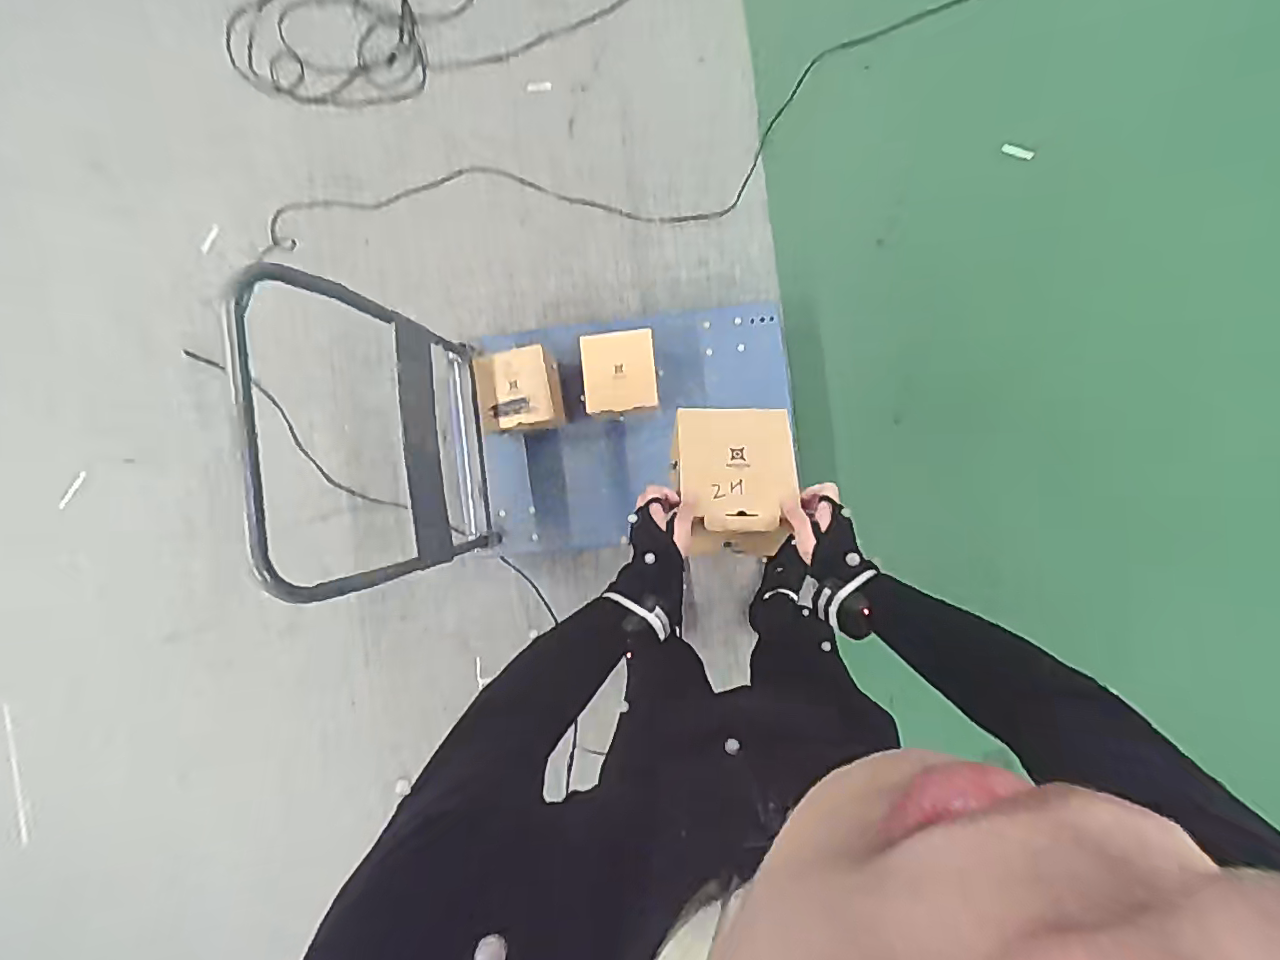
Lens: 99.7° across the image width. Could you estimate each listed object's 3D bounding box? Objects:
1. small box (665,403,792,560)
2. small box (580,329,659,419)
[{"bbox_3d":[0.128,0.007,0.822,0.168,0.176,0.179,6,66,4],"label":"small box"},{"bbox_3d":[-0.044,-0.247,1.294,0.168,0.176,0.179,-6,91,3],"label":"small box"}]
